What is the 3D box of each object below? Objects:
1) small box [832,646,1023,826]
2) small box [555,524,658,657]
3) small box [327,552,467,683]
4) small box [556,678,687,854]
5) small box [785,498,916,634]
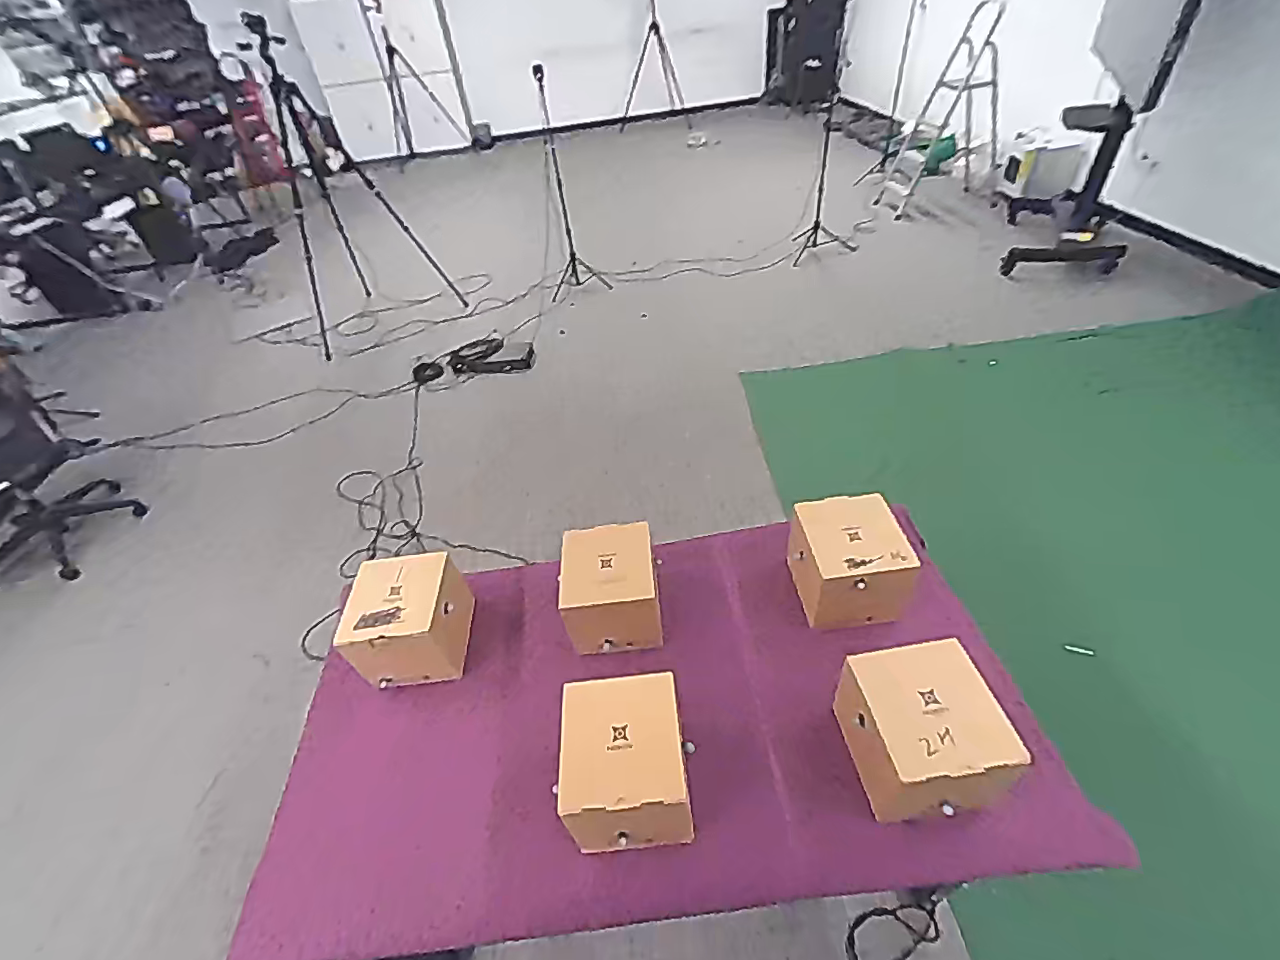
[{"bbox_3d":[0.394,0.369,0.782,0.168,0.176,0.179,-9,44,0],"label":"small box"},{"bbox_3d":[-0.058,0.207,1.012,0.168,0.176,0.179,-6,45,2],"label":"small box"},{"bbox_3d":[-0.432,0.259,0.997,0.168,0.176,0.179,-6,45,0],"label":"small box"},{"bbox_3d":[-0.023,0.417,0.790,0.168,0.176,0.179,-6,43,0],"label":"small box"},{"bbox_3d":[0.376,0.160,1.004,0.168,0.176,0.179,-7,44,1],"label":"small box"}]
